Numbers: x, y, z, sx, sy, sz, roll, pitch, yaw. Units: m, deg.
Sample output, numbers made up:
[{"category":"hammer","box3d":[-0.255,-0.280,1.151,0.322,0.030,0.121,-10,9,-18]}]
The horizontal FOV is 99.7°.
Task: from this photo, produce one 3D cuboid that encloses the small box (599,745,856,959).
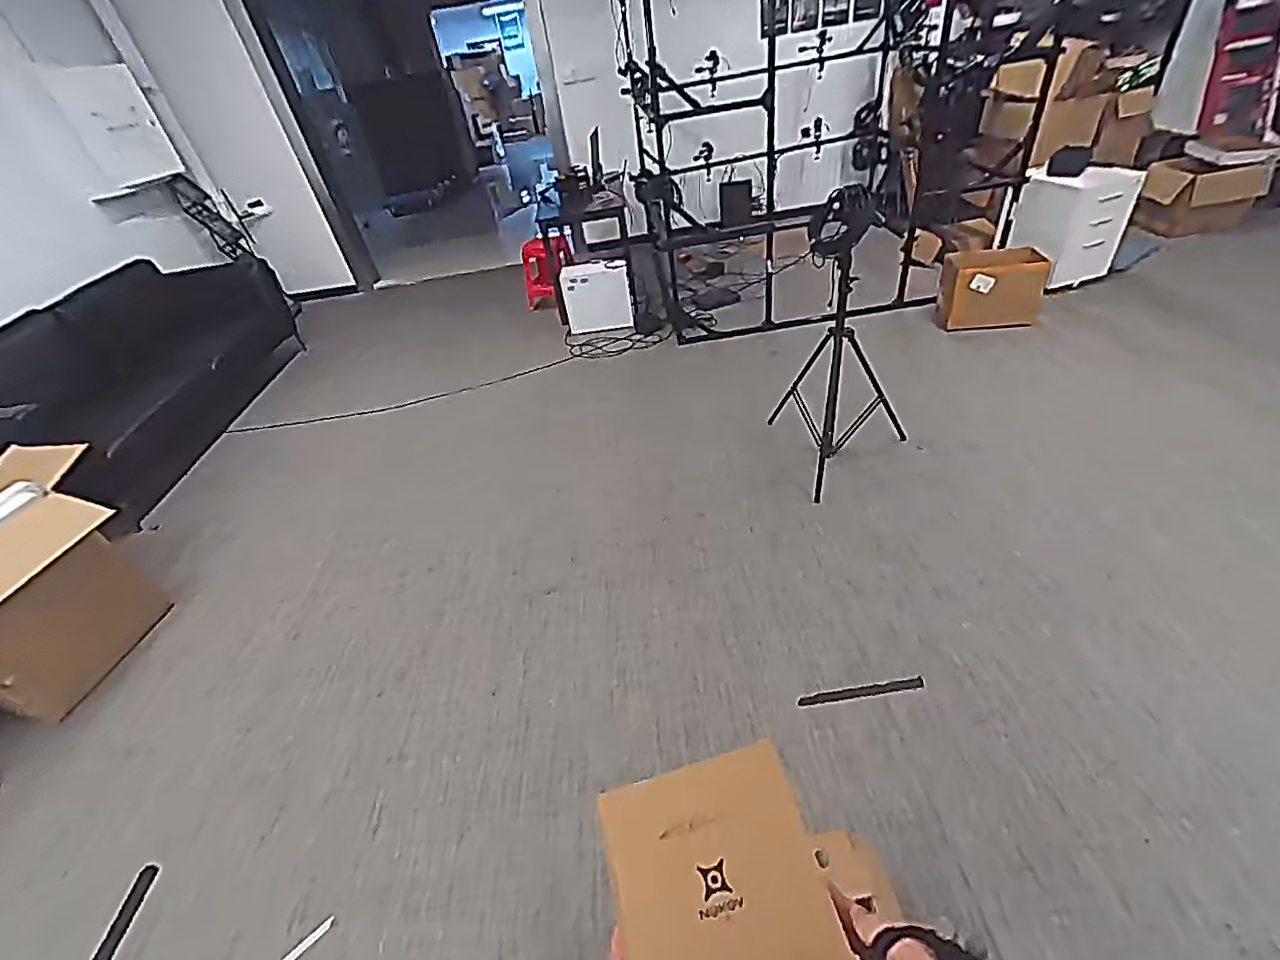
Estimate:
[{"category":"small box","box3d":[0.075,0.366,0.482,0.168,0.176,0.179,-17,51,-2]}]
